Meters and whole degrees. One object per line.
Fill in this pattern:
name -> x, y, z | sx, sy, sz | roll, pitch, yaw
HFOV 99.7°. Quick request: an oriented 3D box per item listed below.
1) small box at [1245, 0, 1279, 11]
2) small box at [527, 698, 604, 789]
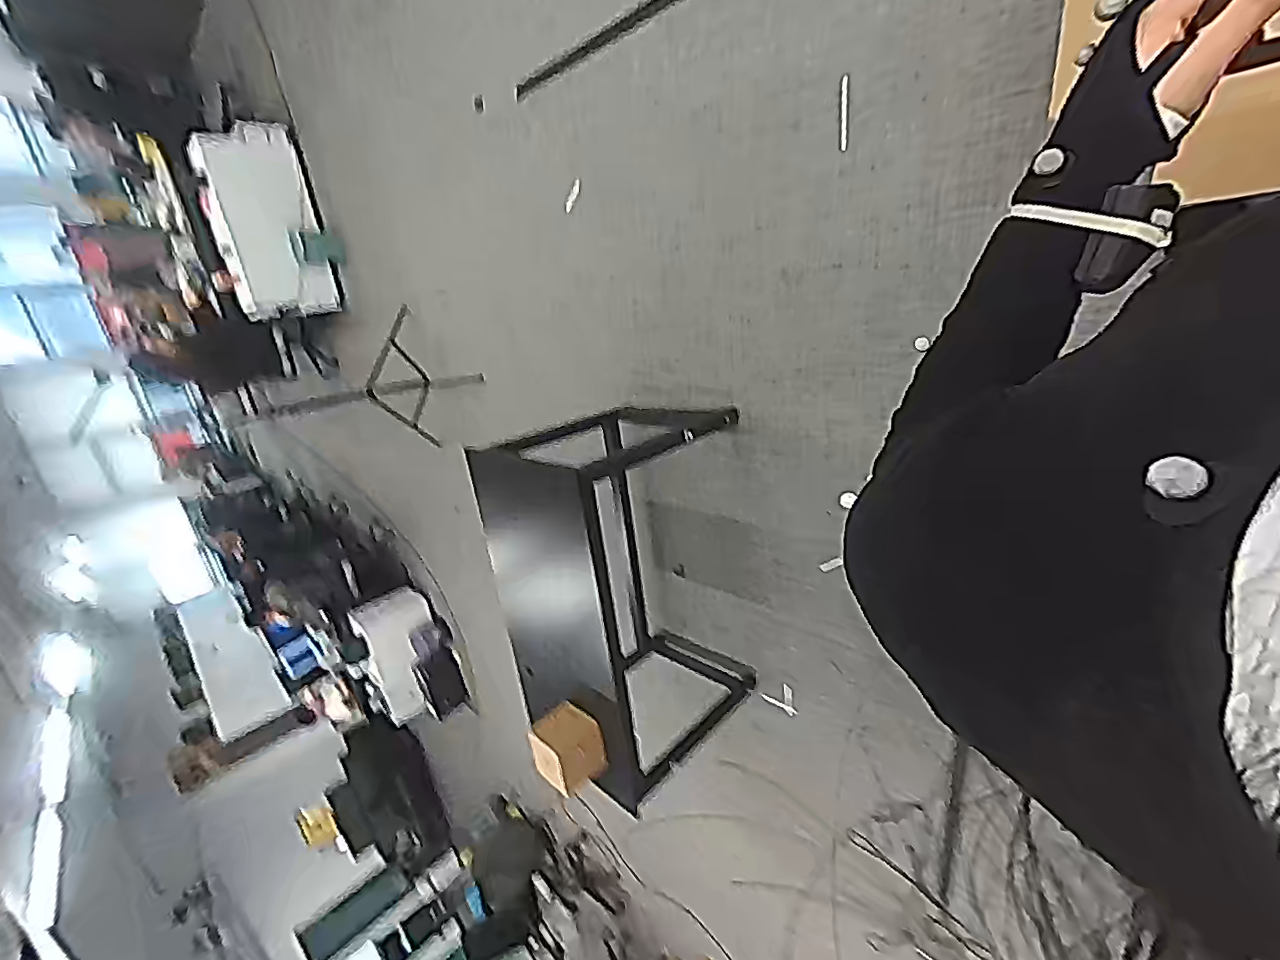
small box -> 0.433, -0.367, 0.258 | 0.179, 0.176, 0.168 | 10, 122, 47
small box -> -0.241, 0.854, 1.773 | 0.168, 0.176, 0.179 | 10, 116, 46
